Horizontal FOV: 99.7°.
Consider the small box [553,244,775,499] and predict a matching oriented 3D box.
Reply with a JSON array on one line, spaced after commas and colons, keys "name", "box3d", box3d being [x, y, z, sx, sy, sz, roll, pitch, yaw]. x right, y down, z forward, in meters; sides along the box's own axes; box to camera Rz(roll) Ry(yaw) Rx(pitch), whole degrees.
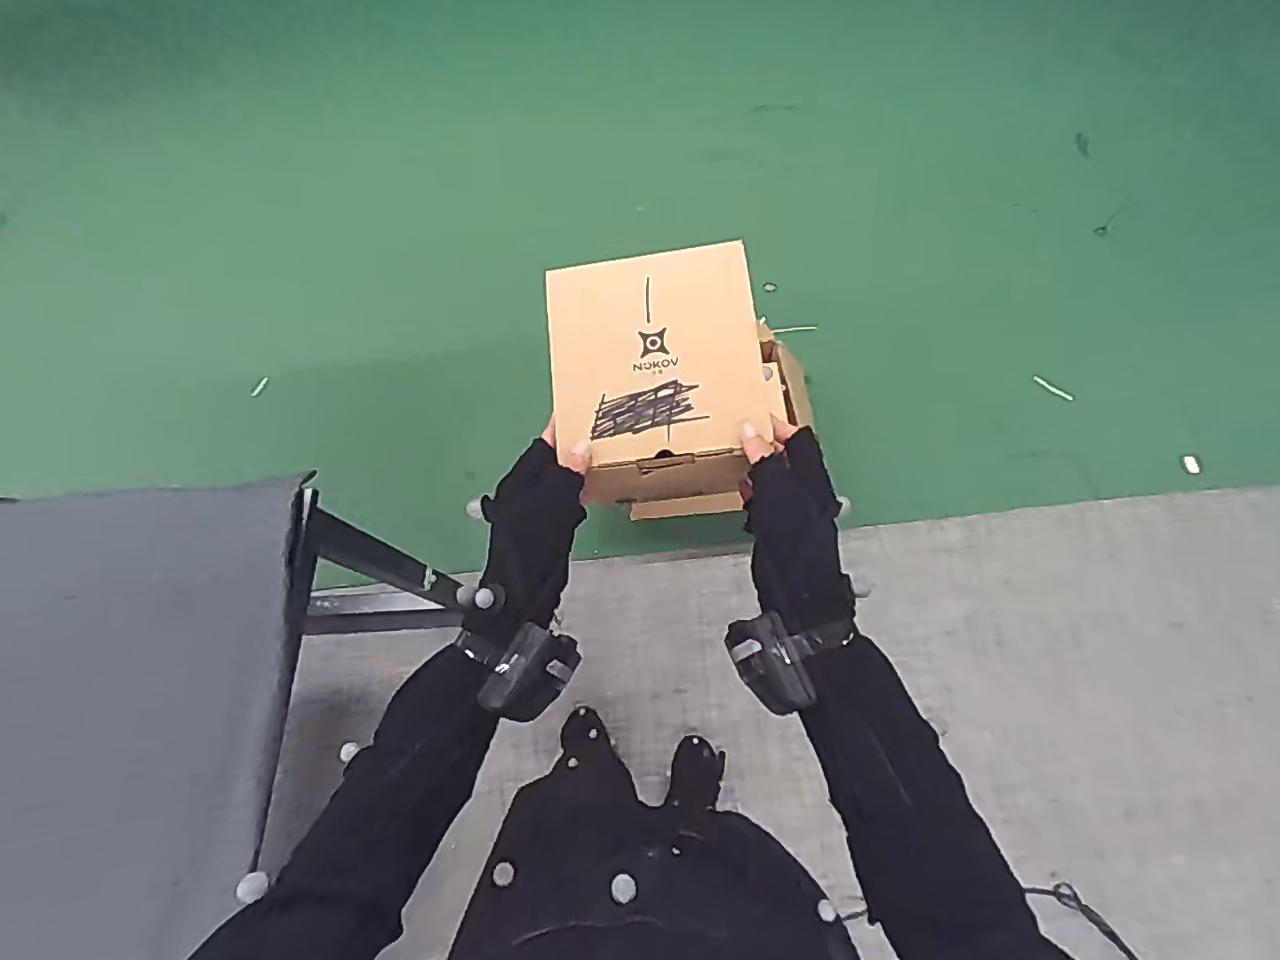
[{"name": "small box", "box3d": [0.024, -0.082, 0.503, 0.168, 0.176, 0.179, -7, 77, 5]}]
